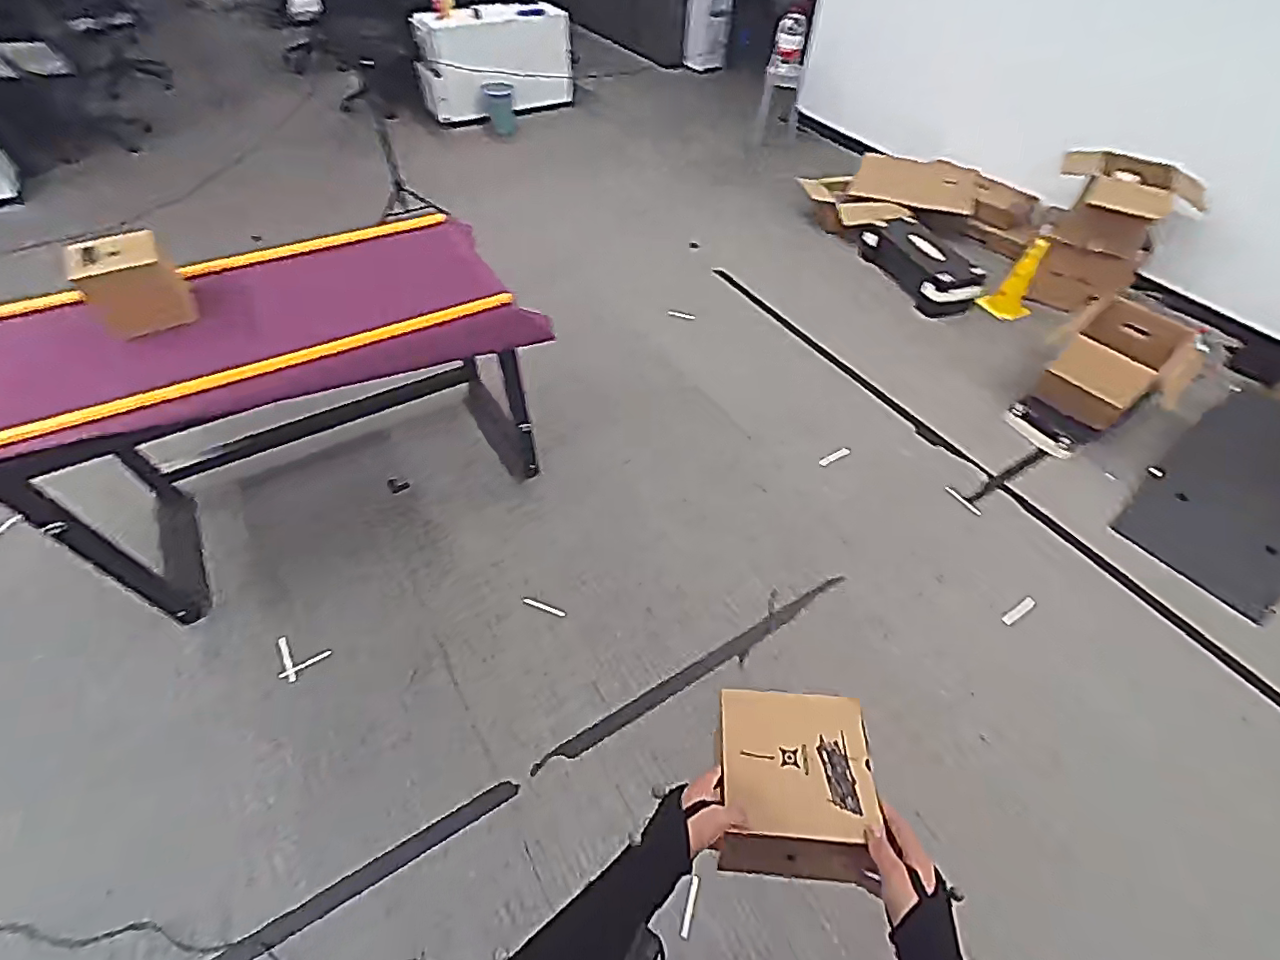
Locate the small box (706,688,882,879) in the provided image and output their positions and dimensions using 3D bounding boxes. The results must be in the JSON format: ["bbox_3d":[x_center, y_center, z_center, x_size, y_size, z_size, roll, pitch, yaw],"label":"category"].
[{"bbox_3d":[0.177,0.383,0.683,0.179,0.176,0.168,1,43,5],"label":"small box"}]
